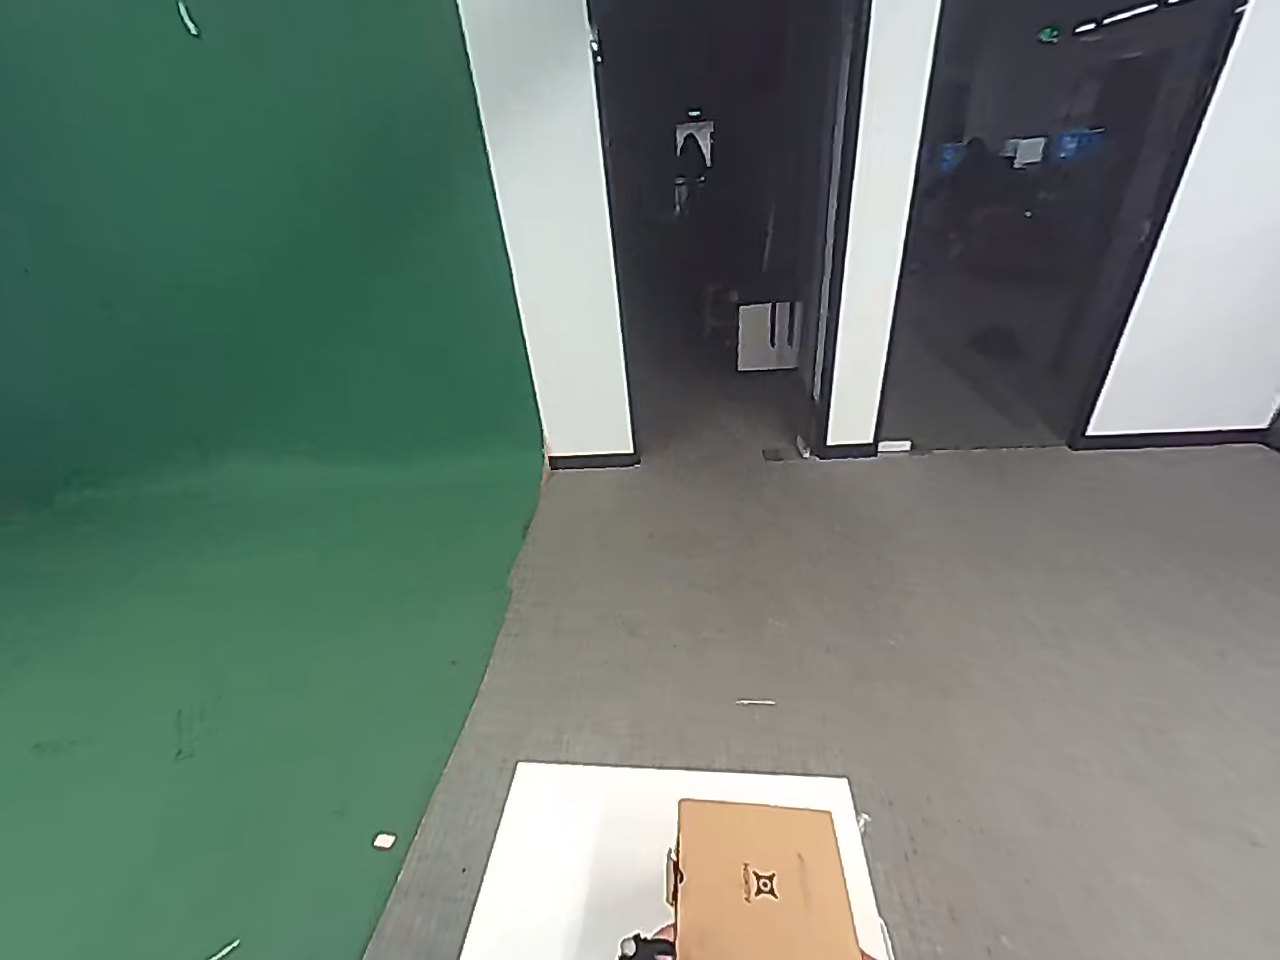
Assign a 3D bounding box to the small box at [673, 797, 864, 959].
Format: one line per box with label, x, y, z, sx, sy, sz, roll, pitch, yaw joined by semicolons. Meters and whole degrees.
small box;0.126;0.479;0.587;0.179;0.176;0.168;2;29;5
